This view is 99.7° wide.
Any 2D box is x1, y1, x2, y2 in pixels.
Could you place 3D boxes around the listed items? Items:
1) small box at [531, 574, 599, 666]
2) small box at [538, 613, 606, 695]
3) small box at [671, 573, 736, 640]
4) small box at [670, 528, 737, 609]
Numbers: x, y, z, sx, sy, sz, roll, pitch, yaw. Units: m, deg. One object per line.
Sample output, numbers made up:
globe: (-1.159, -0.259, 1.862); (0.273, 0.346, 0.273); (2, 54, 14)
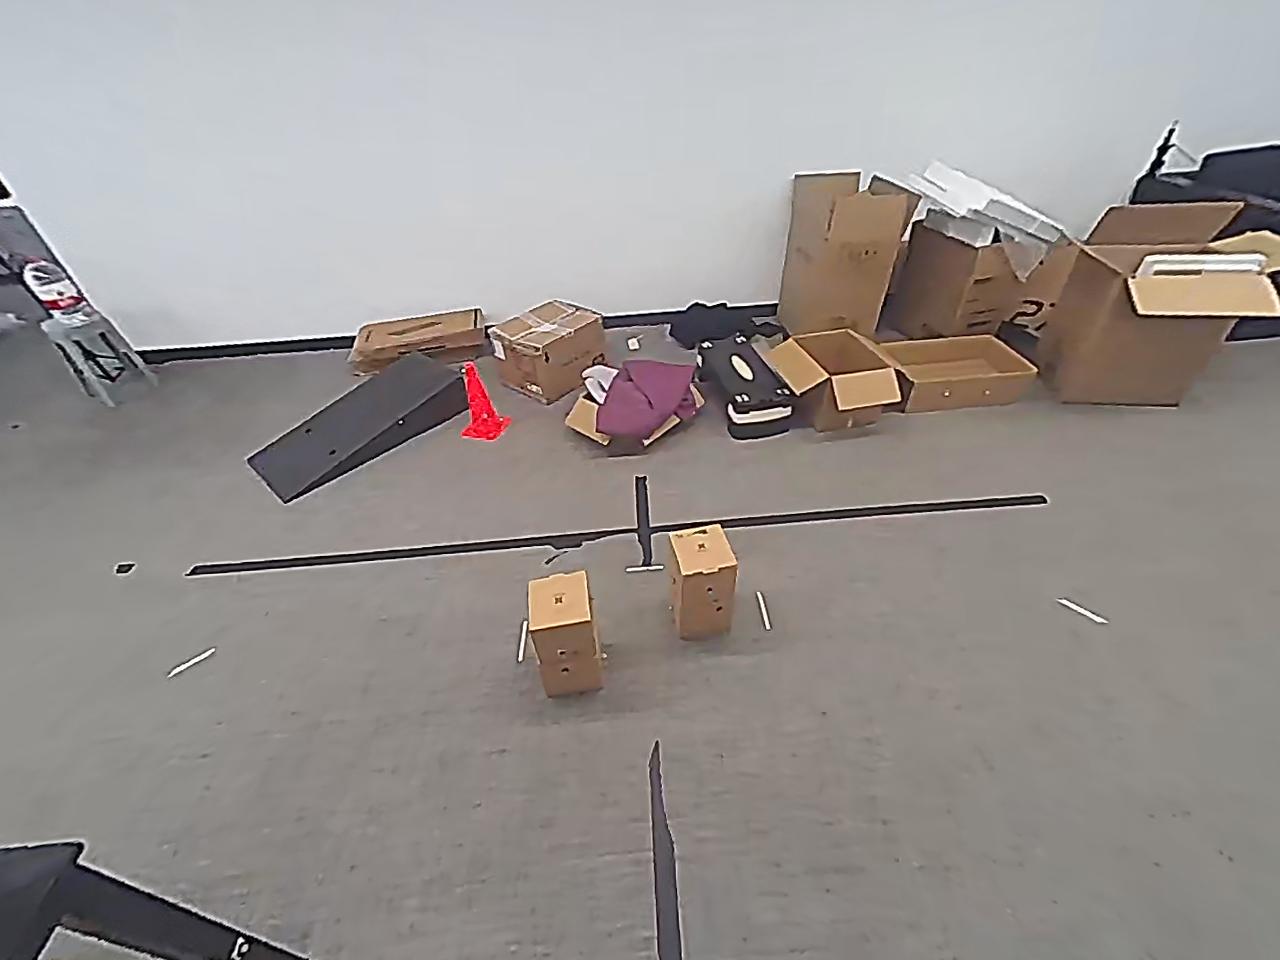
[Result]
small box: (-0.211, 0.396, 1.531); (0.168, 0.176, 0.179); (-10, 41, -4)
small box: (-0.202, 0.528, 1.626); (0.179, 0.176, 0.168); (-6, 40, -3)
small box: (0.200, 0.395, 1.756); (0.179, 0.176, 0.168); (-8, 40, -5)
small box: (0.190, 0.275, 1.645); (0.168, 0.176, 0.179); (-9, 41, -6)
